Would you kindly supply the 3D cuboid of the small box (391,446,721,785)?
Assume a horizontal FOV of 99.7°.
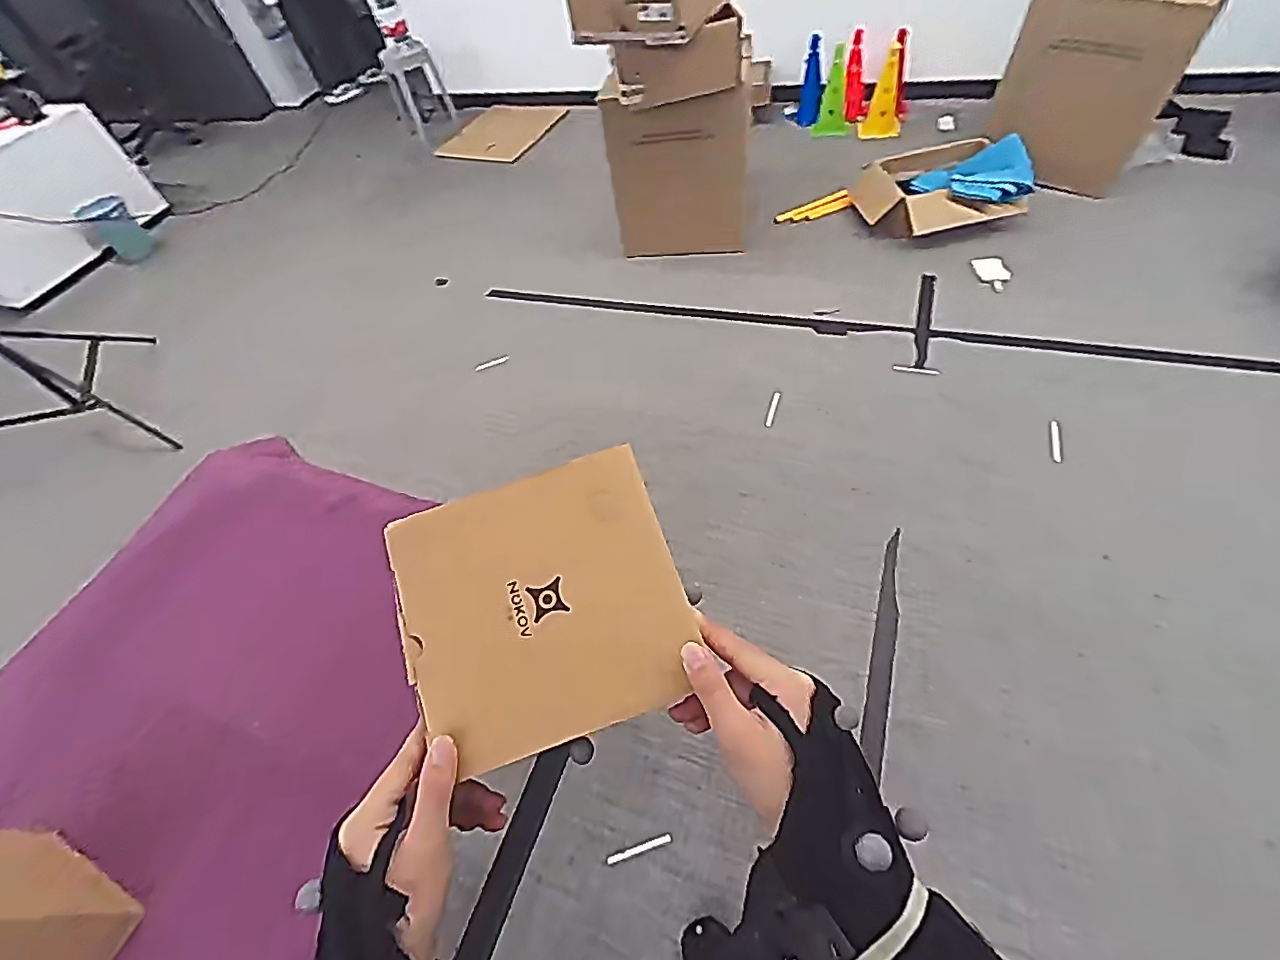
[{"bbox_3d":[-0.054,0.100,0.413,0.179,0.176,0.168,-20,71,-2],"label":"small box"}]
